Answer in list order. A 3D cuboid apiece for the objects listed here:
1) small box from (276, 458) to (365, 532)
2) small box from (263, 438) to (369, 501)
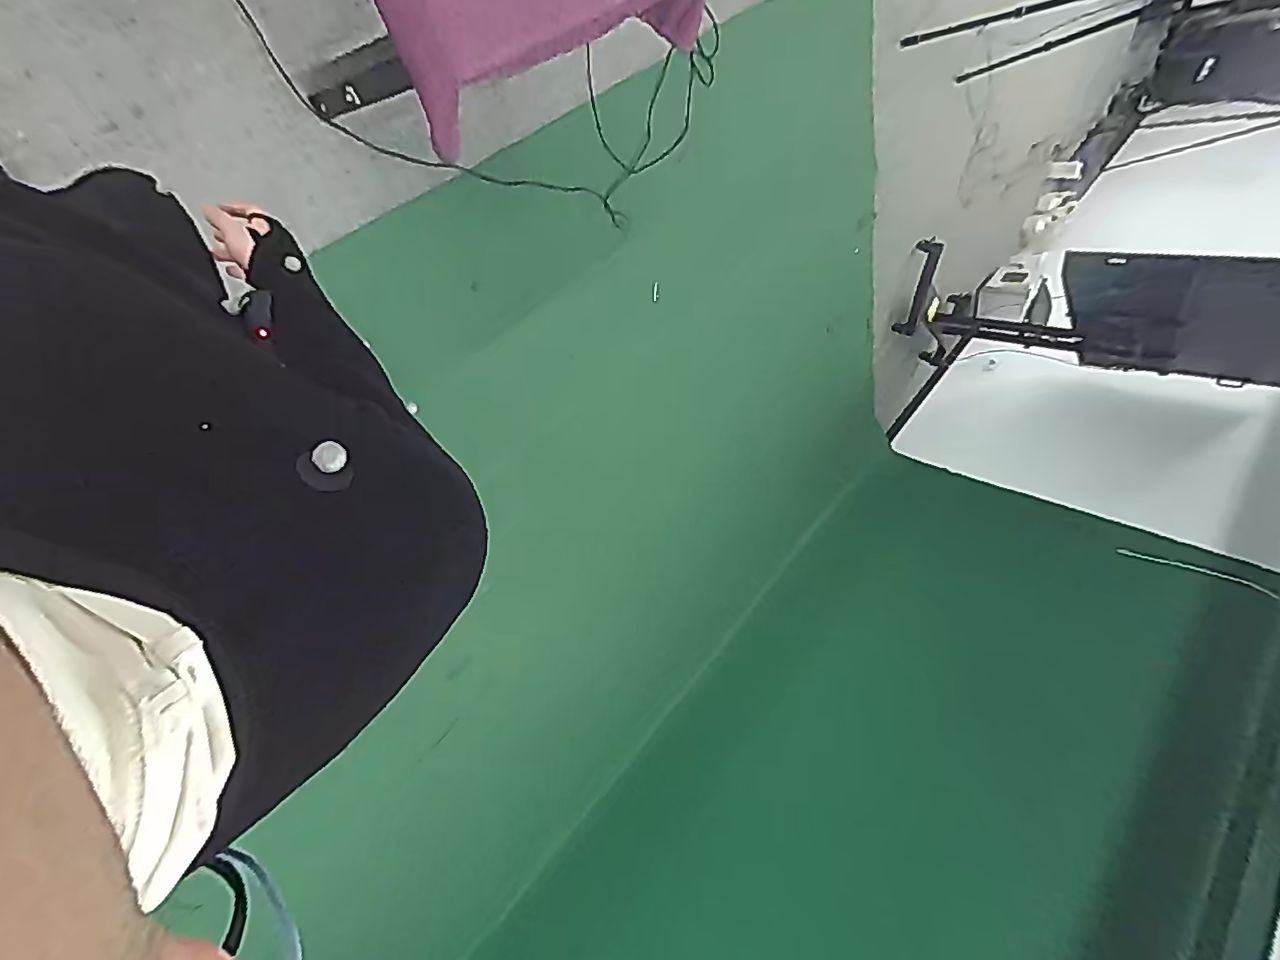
[{"bbox_3d":[-0.780,0.073,1.365,0.179,0.176,0.168,-47,136,-21],"label":"small box"},{"bbox_3d":[-0.886,0.012,1.472,0.179,0.176,0.168,-44,136,-22],"label":"small box"}]
